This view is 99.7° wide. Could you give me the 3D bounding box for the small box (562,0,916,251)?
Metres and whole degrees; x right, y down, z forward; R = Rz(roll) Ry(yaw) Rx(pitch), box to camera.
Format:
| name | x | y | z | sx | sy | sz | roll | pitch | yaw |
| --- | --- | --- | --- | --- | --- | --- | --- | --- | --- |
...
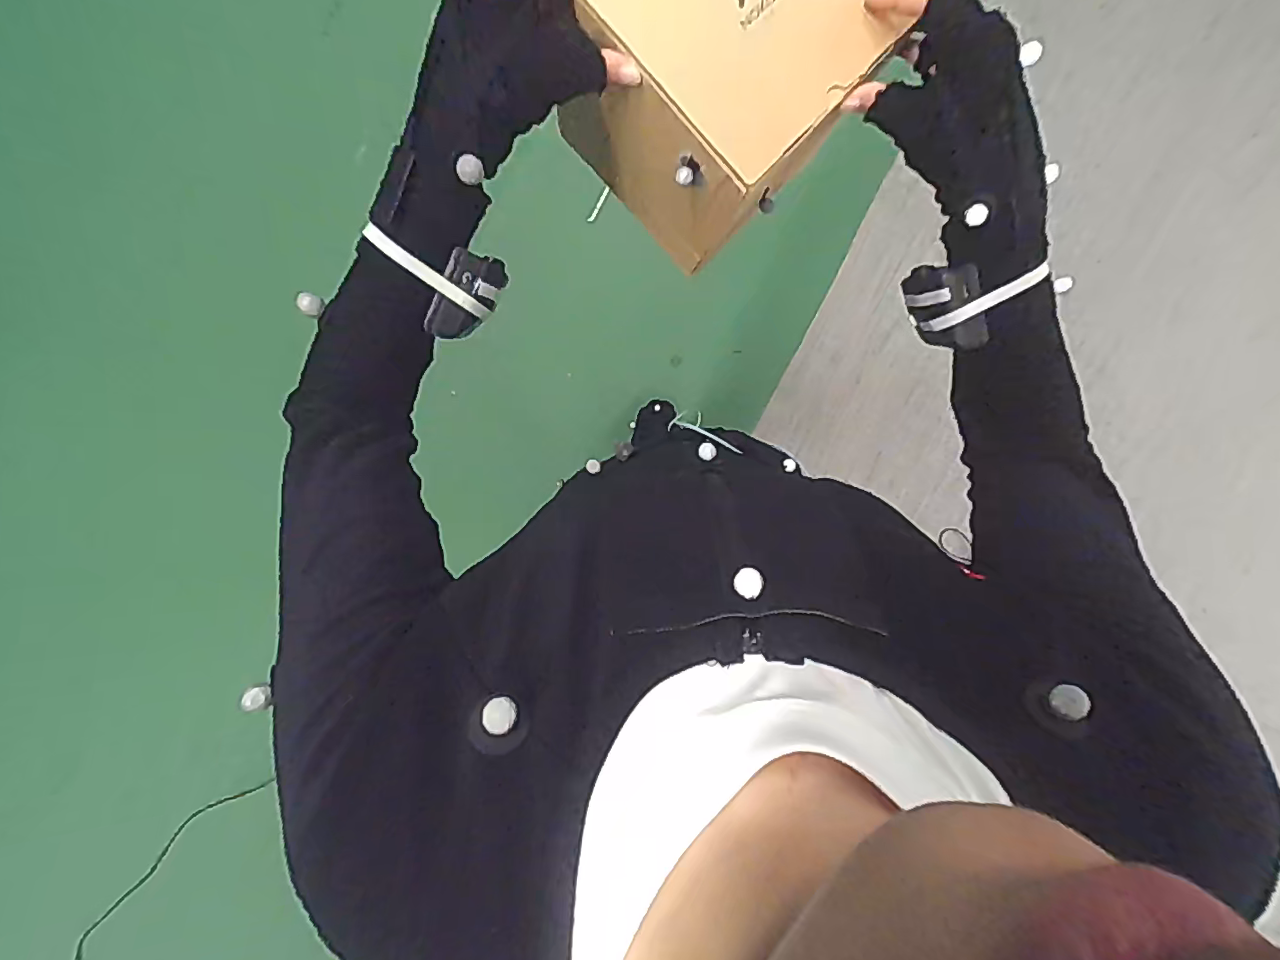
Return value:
| name | x | y | z | sx | sy | sz | roll | pitch | yaw |
| --- | --- | --- | --- | --- | --- | --- | --- | --- | --- |
| small box | 0.053 | -0.314 | 0.413 | 0.168 | 0.176 | 0.179 | -45 | 99 | -3 |
